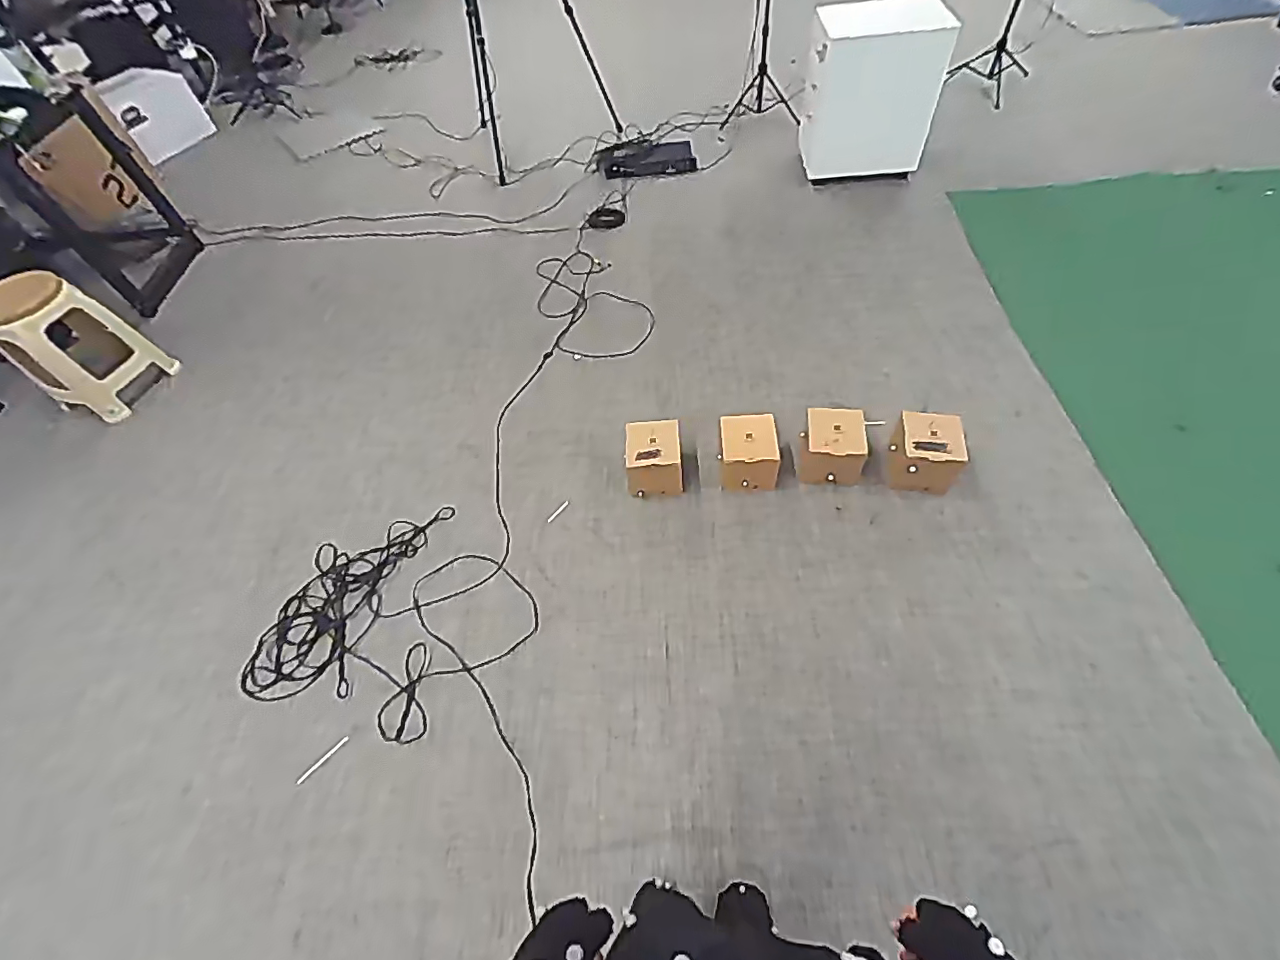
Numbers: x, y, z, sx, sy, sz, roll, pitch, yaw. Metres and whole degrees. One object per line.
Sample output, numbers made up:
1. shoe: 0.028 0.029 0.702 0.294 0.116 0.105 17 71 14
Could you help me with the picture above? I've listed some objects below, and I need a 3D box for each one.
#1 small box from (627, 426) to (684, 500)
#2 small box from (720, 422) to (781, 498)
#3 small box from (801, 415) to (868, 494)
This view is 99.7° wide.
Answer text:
1. small box: 0.051 -0.047 1.714 0.168 0.176 0.179 -3 54 4
2. small box: 0.341 -0.061 1.693 0.168 0.176 0.179 -2 55 5
3. small box: 0.596 -0.078 1.675 0.168 0.176 0.179 4 56 10
